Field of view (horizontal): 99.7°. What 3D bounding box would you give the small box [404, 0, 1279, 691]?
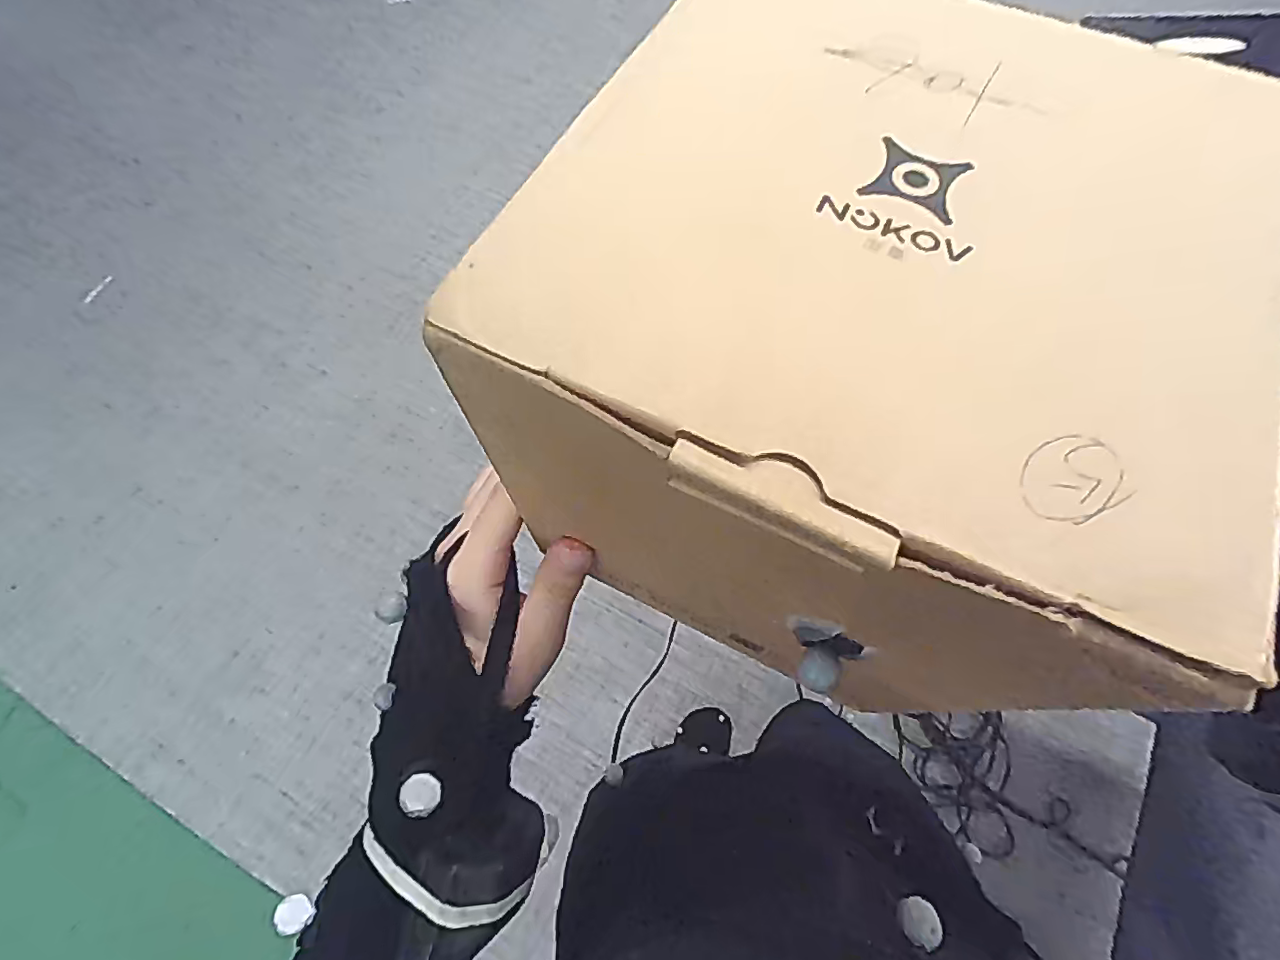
[{"bbox_3d":[0.058,-0.038,0.201,0.168,0.176,0.179,24,68,9],"label":"small box"}]
